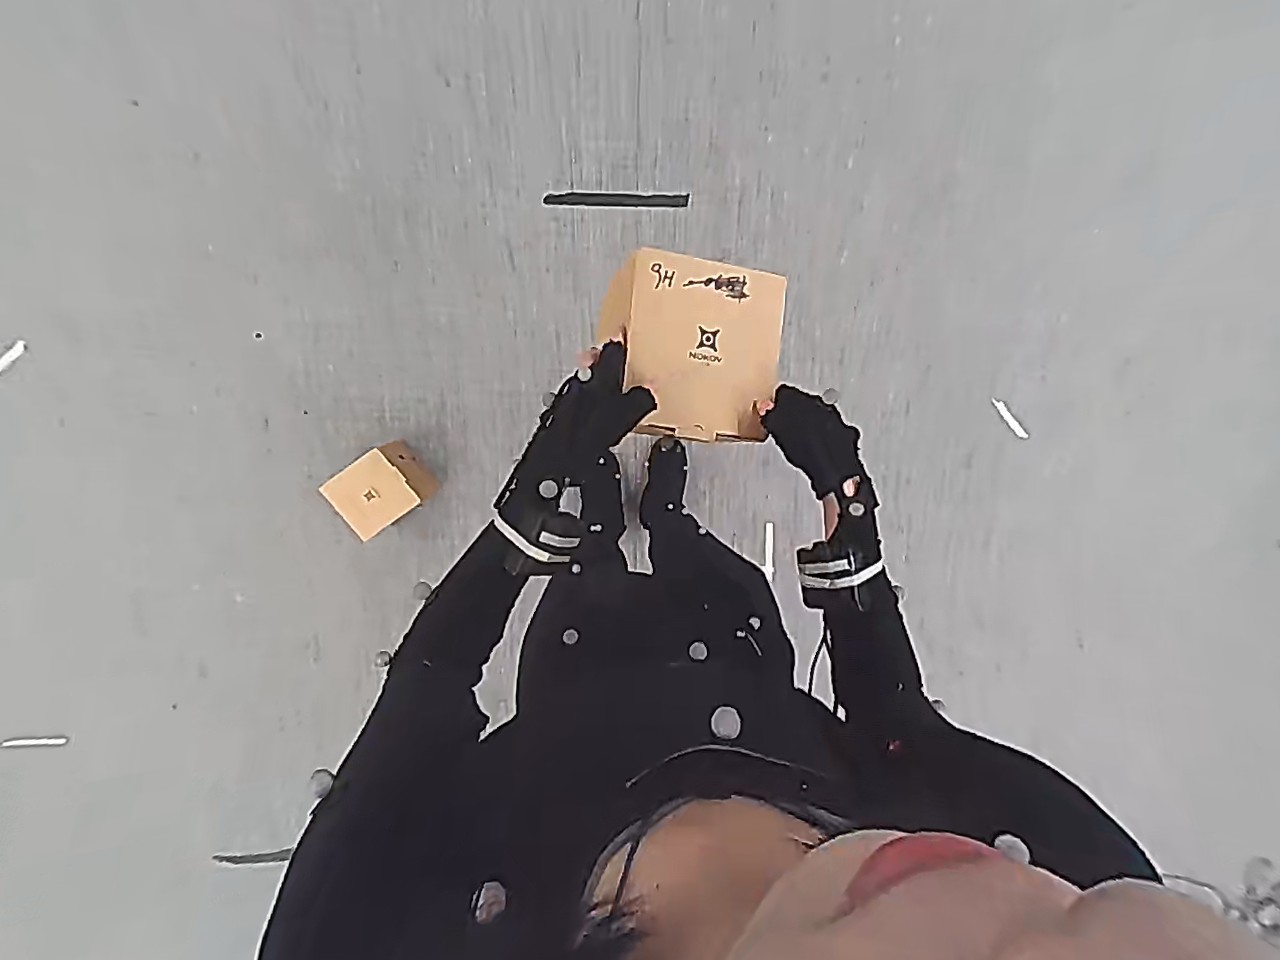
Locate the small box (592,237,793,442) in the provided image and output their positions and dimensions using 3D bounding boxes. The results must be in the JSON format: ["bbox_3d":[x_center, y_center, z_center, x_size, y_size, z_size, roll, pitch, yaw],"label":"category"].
[{"bbox_3d":[0.046,-0.141,0.607,0.168,0.176,0.179,6,94,-16],"label":"small box"}]

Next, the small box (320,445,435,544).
[{"bbox_3d":[-0.638,0.028,1.346,0.179,0.176,0.168,-36,99,2],"label":"small box"}]
